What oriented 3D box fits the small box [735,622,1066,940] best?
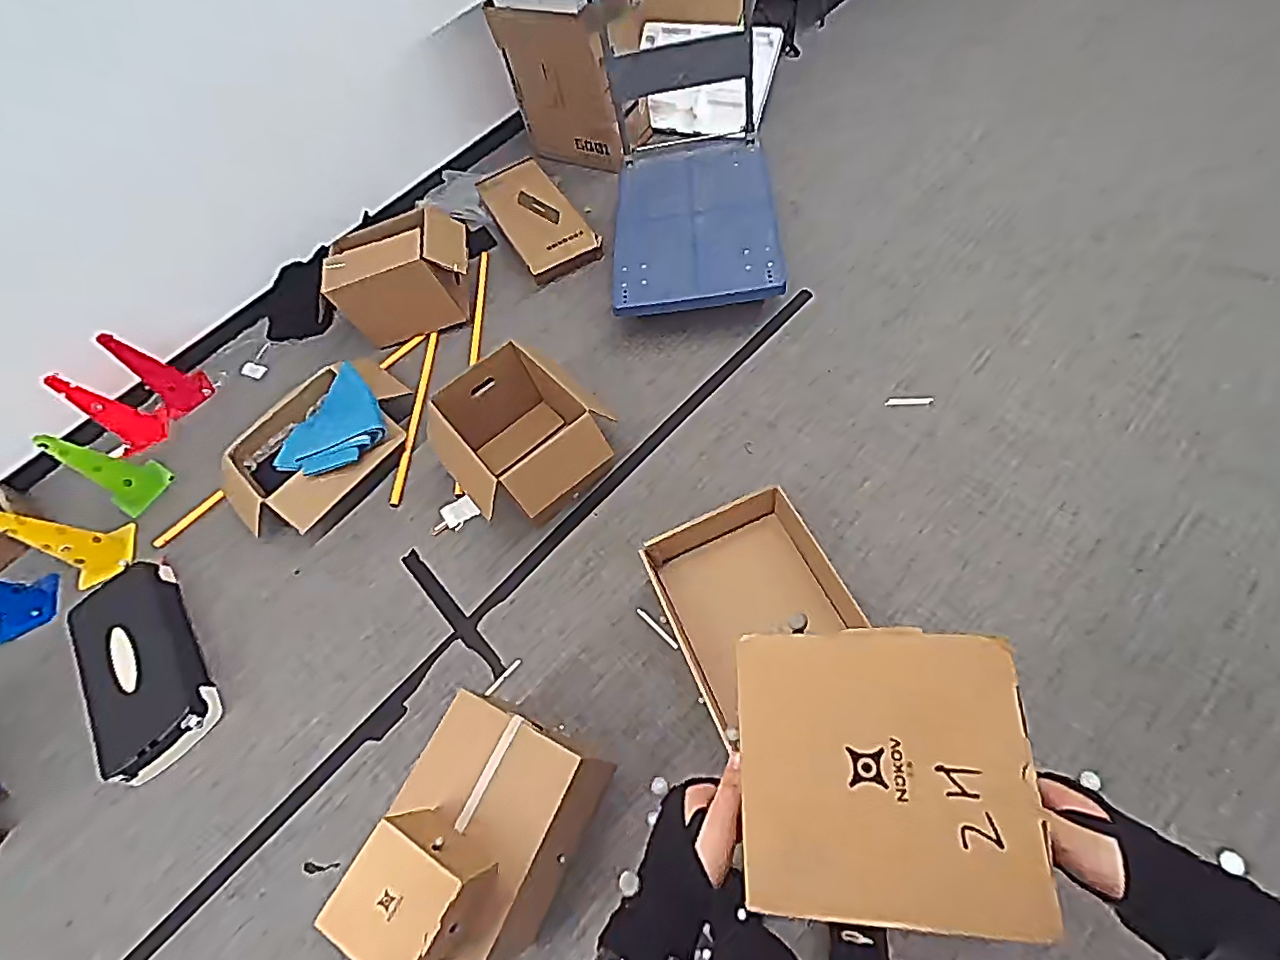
[{"bbox_3d":[0.167,0.198,0.409,0.179,0.176,0.168,-3,72,12],"label":"small box"}]
